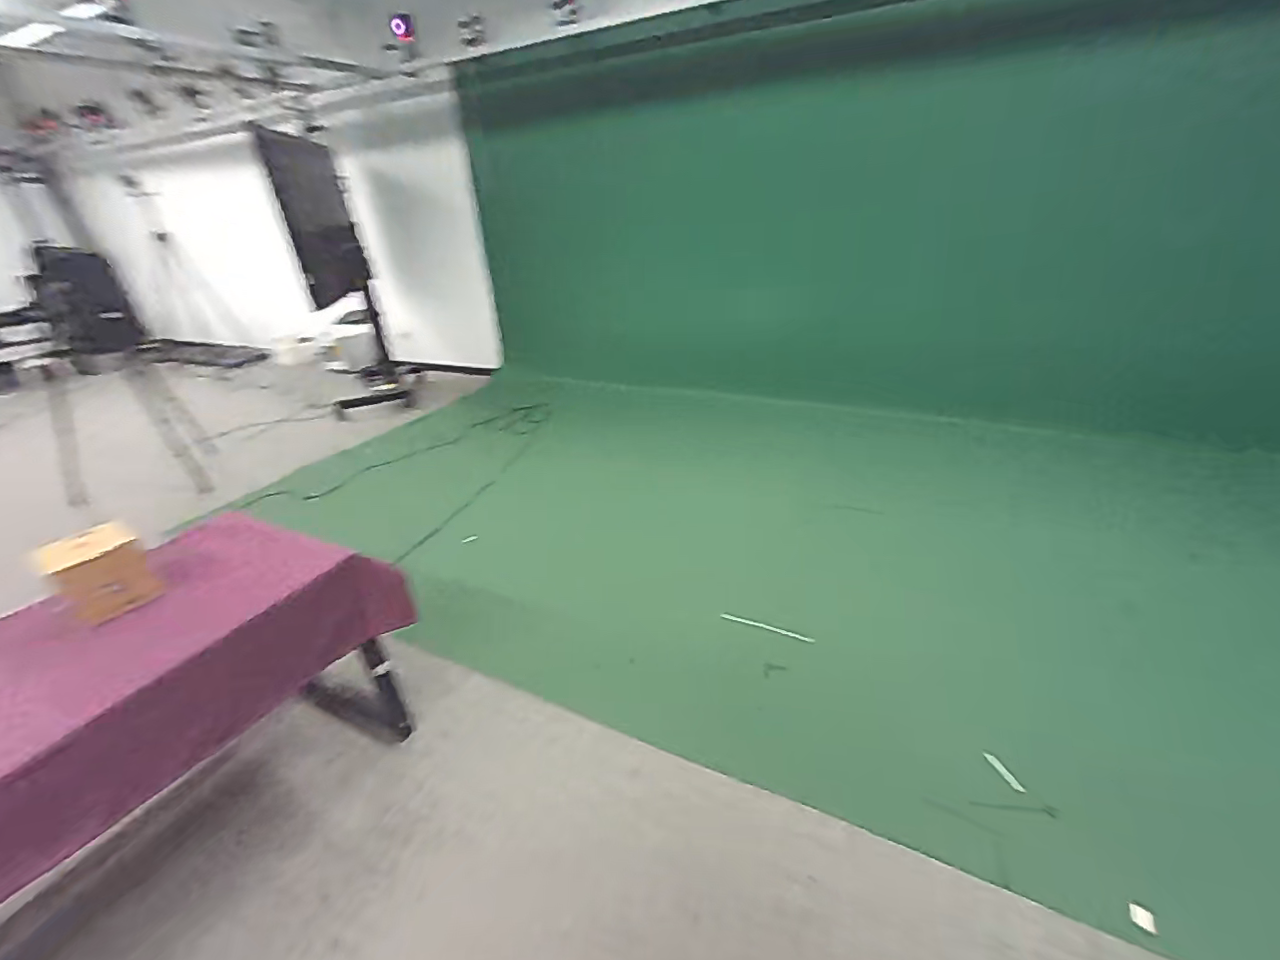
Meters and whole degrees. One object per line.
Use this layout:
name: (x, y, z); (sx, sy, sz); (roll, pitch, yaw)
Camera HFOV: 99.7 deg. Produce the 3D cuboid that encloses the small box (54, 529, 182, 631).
small box: (-1.308, 0.253, 1.364); (0.179, 0.176, 0.168); (15, 33, 33)
